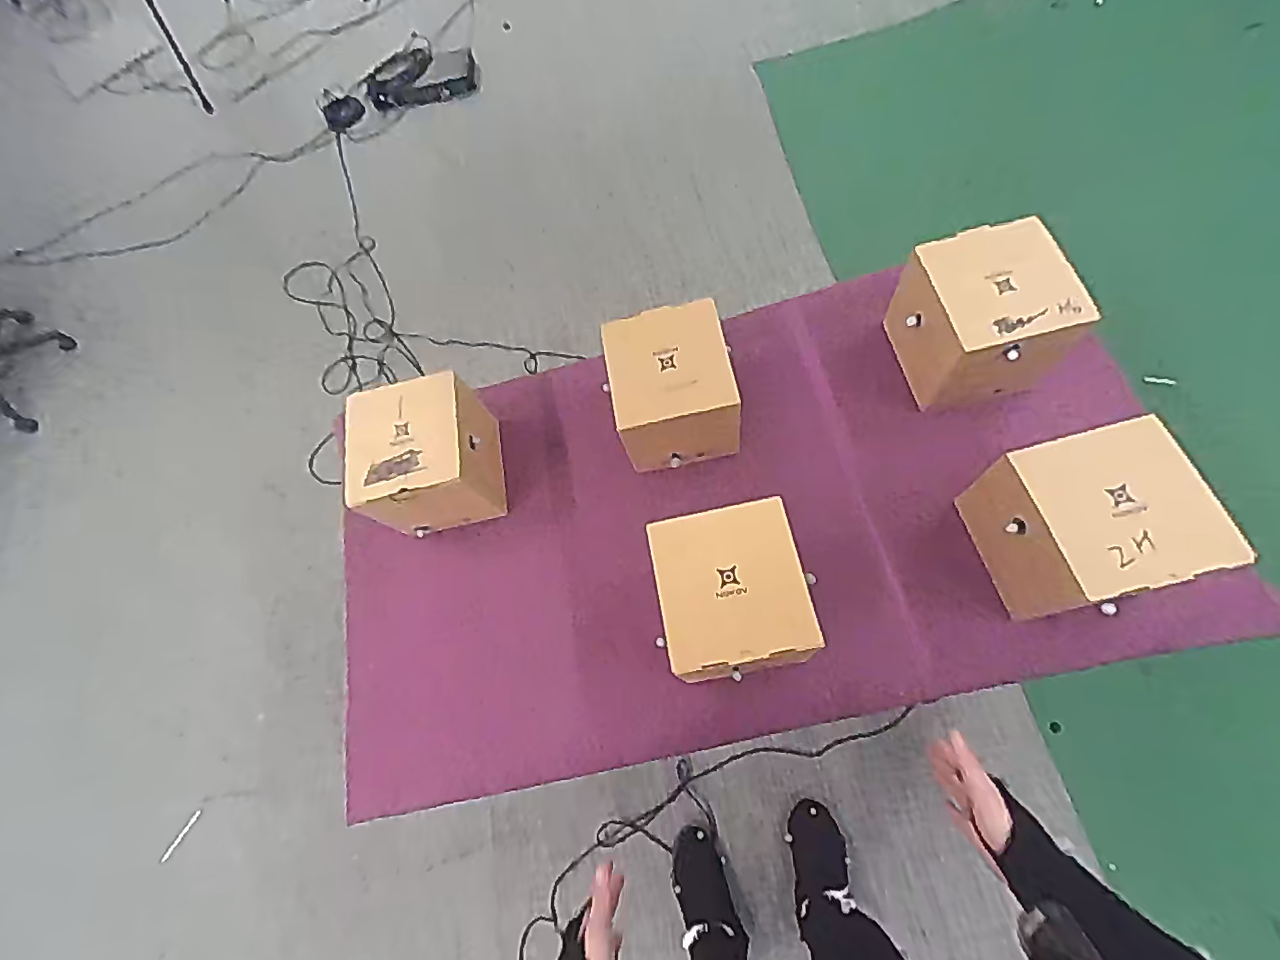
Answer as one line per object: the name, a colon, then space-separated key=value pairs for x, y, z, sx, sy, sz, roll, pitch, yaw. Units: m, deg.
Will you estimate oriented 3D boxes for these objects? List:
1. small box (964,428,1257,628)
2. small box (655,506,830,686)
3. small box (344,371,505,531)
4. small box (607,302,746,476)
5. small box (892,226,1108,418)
small box: x=0.527 y=0.067 z=0.644 sx=0.168 sy=0.176 sz=0.179 roll=-15 pitch=68 yaw=5
small box: x=0.117 y=0.153 z=0.678 sx=0.168 sy=0.176 sz=0.179 roll=-12 pitch=68 yaw=4
small box: x=-0.311 y=-0.031 z=0.808 sx=0.168 sy=0.176 sz=0.179 roll=-12 pitch=69 yaw=3
small box: x=0.054 y=-0.125 z=0.793 sx=0.168 sy=0.176 sz=0.179 roll=-11 pitch=70 yaw=5
small box: x=0.480 y=-0.212 z=0.759 sx=0.168 sy=0.176 sz=0.179 roll=-13 pitch=68 yaw=5
